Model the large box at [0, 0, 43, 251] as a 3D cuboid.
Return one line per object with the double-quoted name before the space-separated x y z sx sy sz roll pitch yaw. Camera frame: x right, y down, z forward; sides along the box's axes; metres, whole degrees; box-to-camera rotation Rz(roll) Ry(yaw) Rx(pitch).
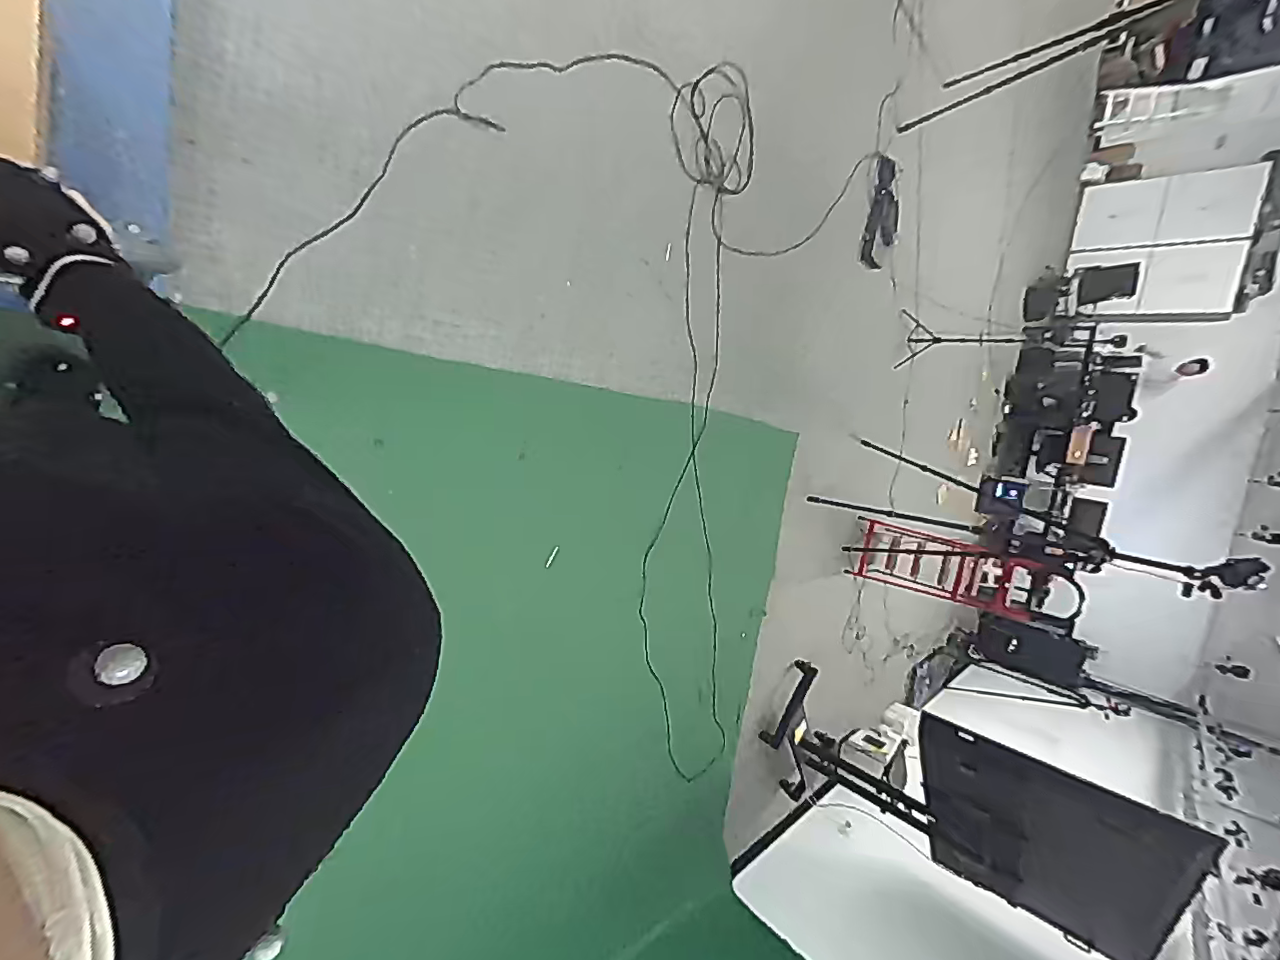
"large box" -1.038 -0.574 0.723 0.320 0.320 0.408 2 97 -47
